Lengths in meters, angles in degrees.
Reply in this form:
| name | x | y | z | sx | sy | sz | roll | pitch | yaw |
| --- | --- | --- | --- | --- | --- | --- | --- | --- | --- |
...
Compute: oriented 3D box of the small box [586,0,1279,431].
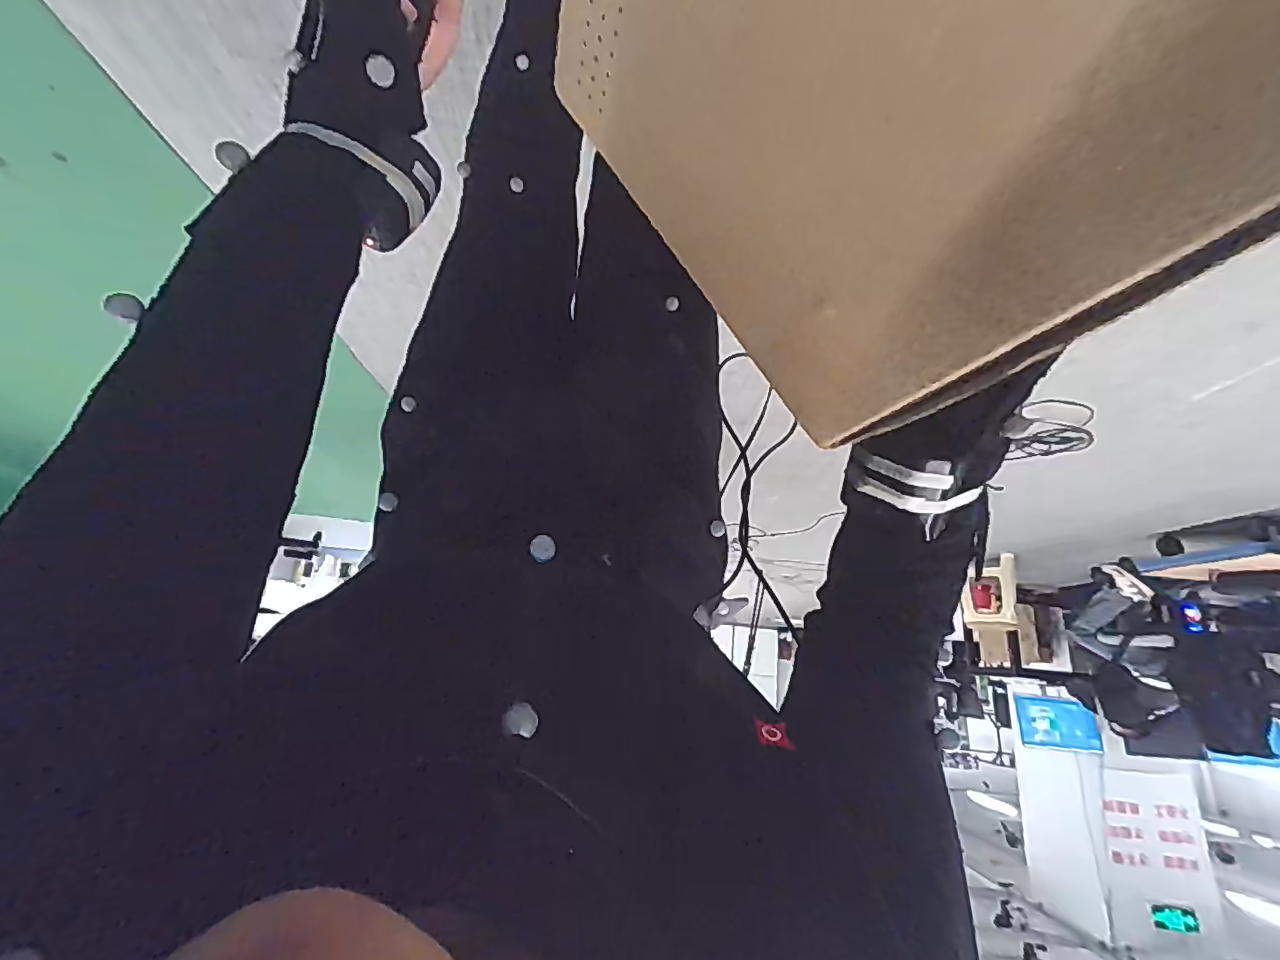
| name | x | y | z | sx | sy | sz | roll | pitch | yaw |
| --- | --- | --- | --- | --- | --- | --- | --- | --- | --- |
| small box | 0.103 | -0.144 | 0.139 | 0.168 | 0.176 | 0.179 | -34 | 176 | -20 |
